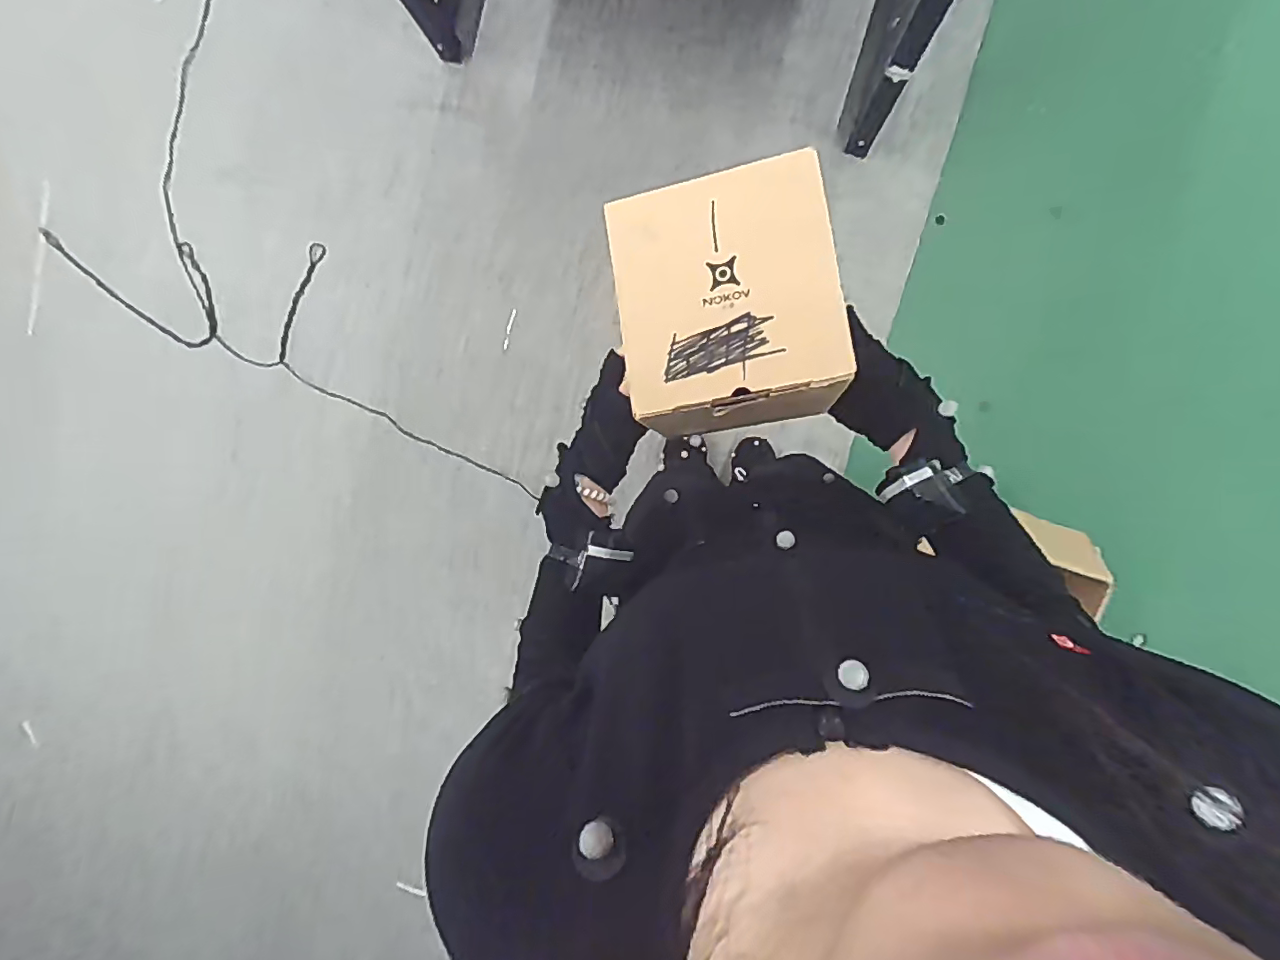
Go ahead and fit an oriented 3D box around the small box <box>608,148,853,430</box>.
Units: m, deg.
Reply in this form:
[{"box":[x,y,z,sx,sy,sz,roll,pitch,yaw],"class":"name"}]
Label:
[{"box":[0.081,-0.144,0.483,0.168,0.176,0.179,-9,86,11],"class":"small box"}]
